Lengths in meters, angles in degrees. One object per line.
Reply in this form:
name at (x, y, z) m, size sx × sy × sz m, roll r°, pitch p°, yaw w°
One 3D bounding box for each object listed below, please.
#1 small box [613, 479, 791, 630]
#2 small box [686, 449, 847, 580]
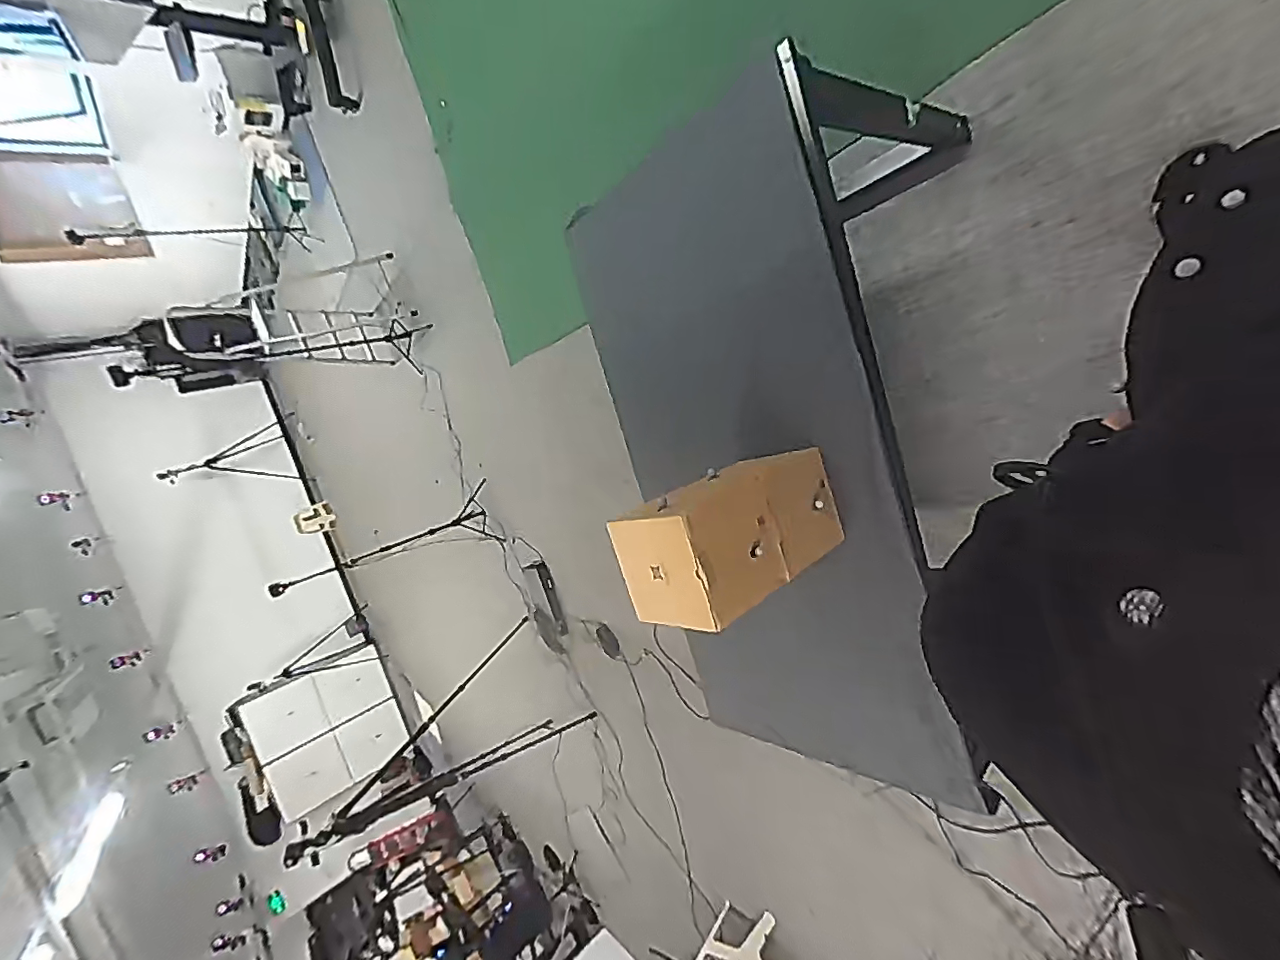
small box at (0.092, 0.105, 0.811) m, size 0.179 × 0.176 × 0.168 m, roll -12°, pitch 98°, yaw 52°
small box at (0.212, 0.057, 0.909) m, size 0.179 × 0.176 × 0.168 m, roll -12°, pitch 98°, yaw 52°
